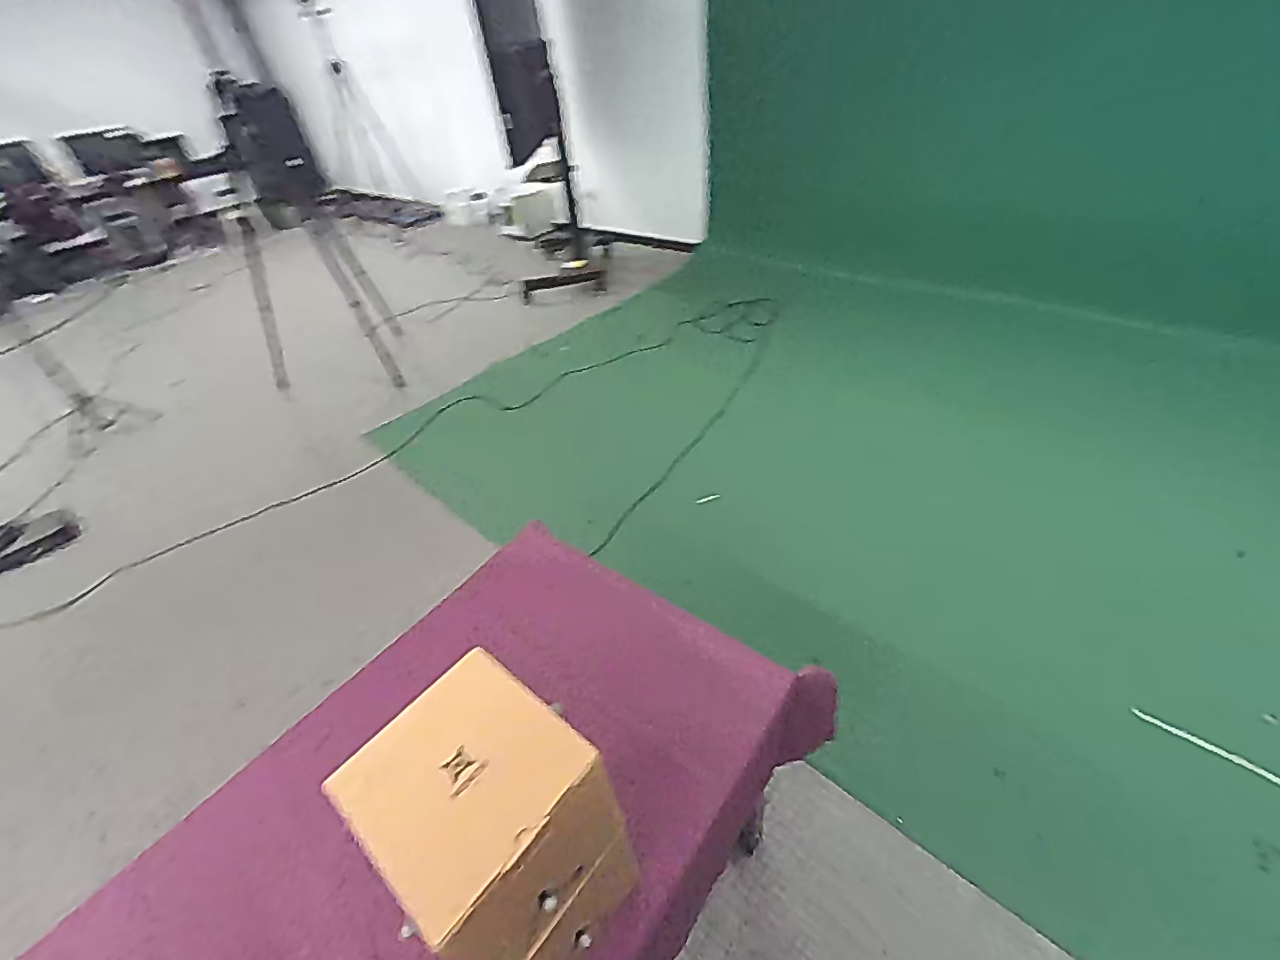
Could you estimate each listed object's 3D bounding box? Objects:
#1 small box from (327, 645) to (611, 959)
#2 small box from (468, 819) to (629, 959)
[{"bbox_3d":[-0.148,0.302,0.514,0.179,0.176,0.168,26,51,32],"label":"small box"},{"bbox_3d":[-0.130,0.431,0.614,0.179,0.176,0.168,25,50,33],"label":"small box"}]
